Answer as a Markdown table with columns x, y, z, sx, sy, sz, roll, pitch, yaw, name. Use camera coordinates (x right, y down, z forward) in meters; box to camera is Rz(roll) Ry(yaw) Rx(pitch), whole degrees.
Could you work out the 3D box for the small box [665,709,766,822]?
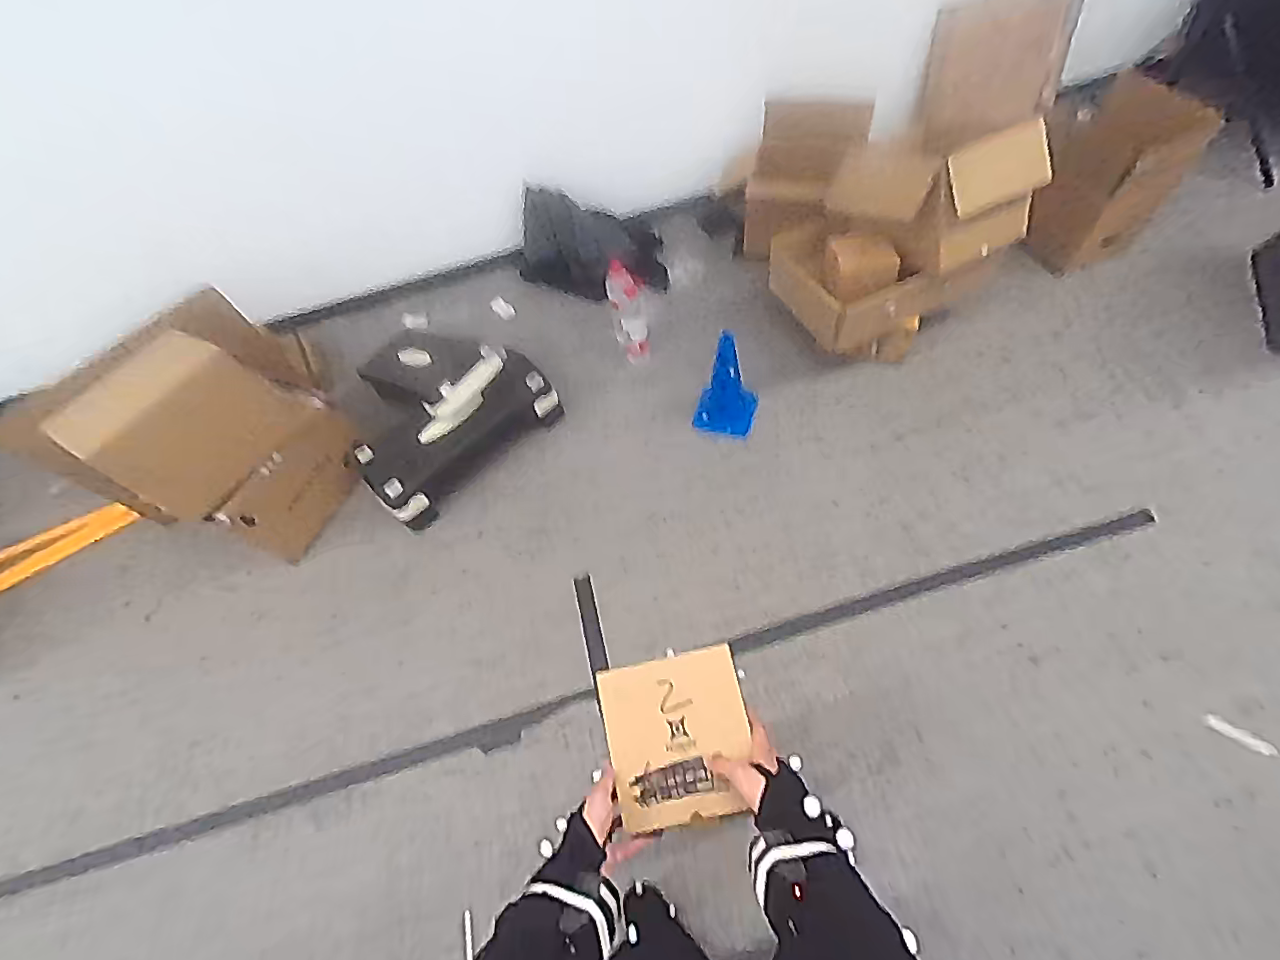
| x | y | z | sx | sy | sz | roll | pitch | yaw | name |
| --- | --- | --- | --- | --- | --- | --- | --- | --- | --- |
| 0.152 | 0.596 | 1.125 | 0.168 | 0.176 | 0.179 | -13 | 59 | 0 | small box |
